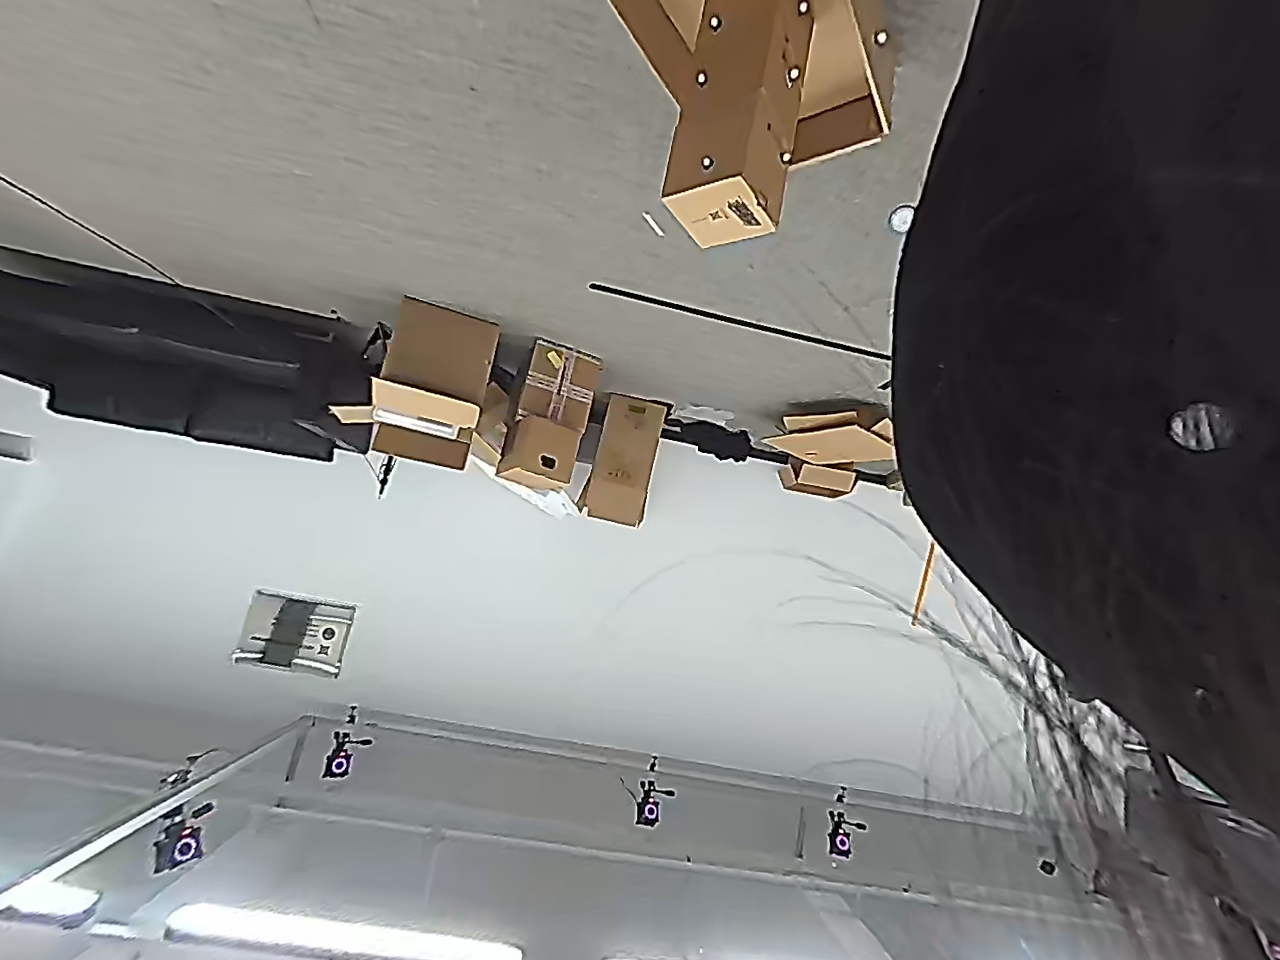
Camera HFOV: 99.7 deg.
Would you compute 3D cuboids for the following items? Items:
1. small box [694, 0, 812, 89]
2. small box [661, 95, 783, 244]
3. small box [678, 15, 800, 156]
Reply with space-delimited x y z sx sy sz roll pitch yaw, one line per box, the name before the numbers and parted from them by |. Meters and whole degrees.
small box | 0.234 -0.909 1.102 0.179 0.176 0.168 4 168 35
small box | 0.166 -0.594 1.048 0.179 0.176 0.168 5 169 37
small box | 0.201 -0.753 1.073 0.179 0.176 0.168 3 168 36
